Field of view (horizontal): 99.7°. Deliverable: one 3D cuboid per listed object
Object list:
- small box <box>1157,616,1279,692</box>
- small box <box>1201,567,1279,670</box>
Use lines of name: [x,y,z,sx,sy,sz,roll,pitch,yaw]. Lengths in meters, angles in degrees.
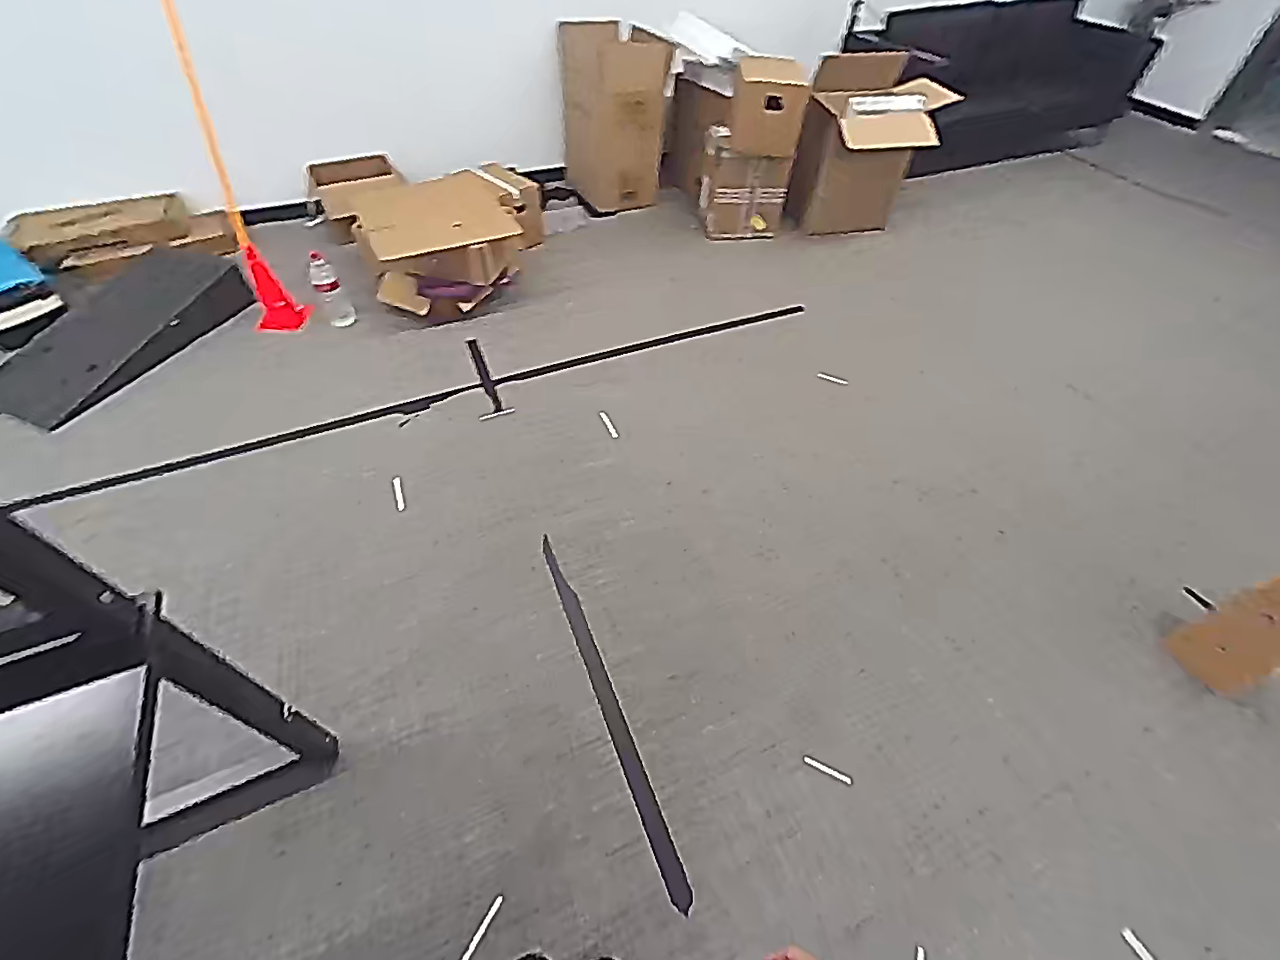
small box: [1.639,0.470,1.517,0.168,0.176,0.179,-18,52,-17]
small box: [1.638,0.358,1.396,0.168,0.176,0.179,-17,51,-15]
